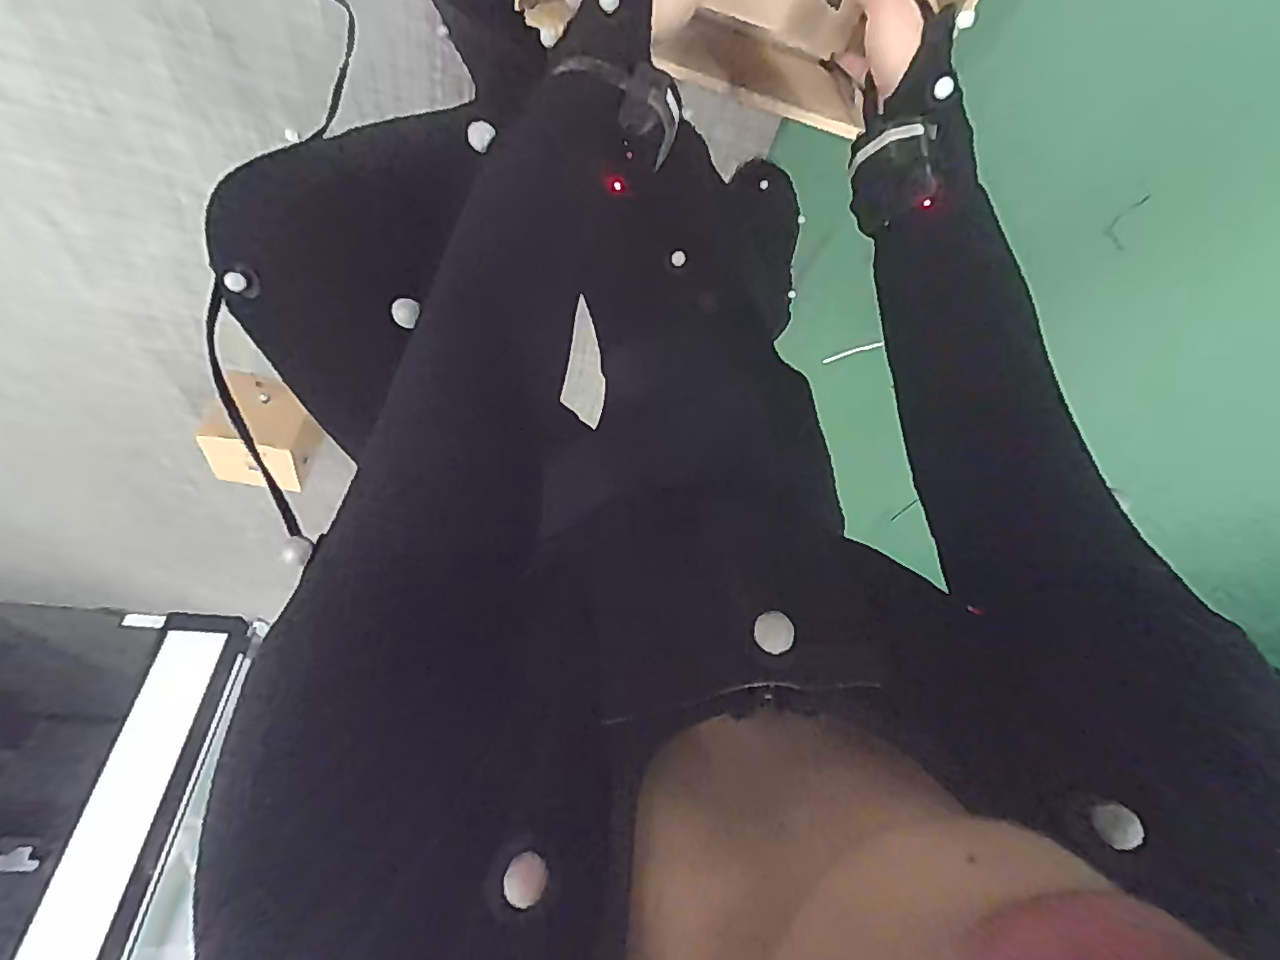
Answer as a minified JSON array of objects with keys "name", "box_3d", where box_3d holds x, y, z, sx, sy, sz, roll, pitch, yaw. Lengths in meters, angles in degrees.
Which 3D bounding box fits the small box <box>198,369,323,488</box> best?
[{"name":"small box","box_3d":[-0.803,-0.108,1.167,0.168,0.176,0.179,11,146,-18]}]
